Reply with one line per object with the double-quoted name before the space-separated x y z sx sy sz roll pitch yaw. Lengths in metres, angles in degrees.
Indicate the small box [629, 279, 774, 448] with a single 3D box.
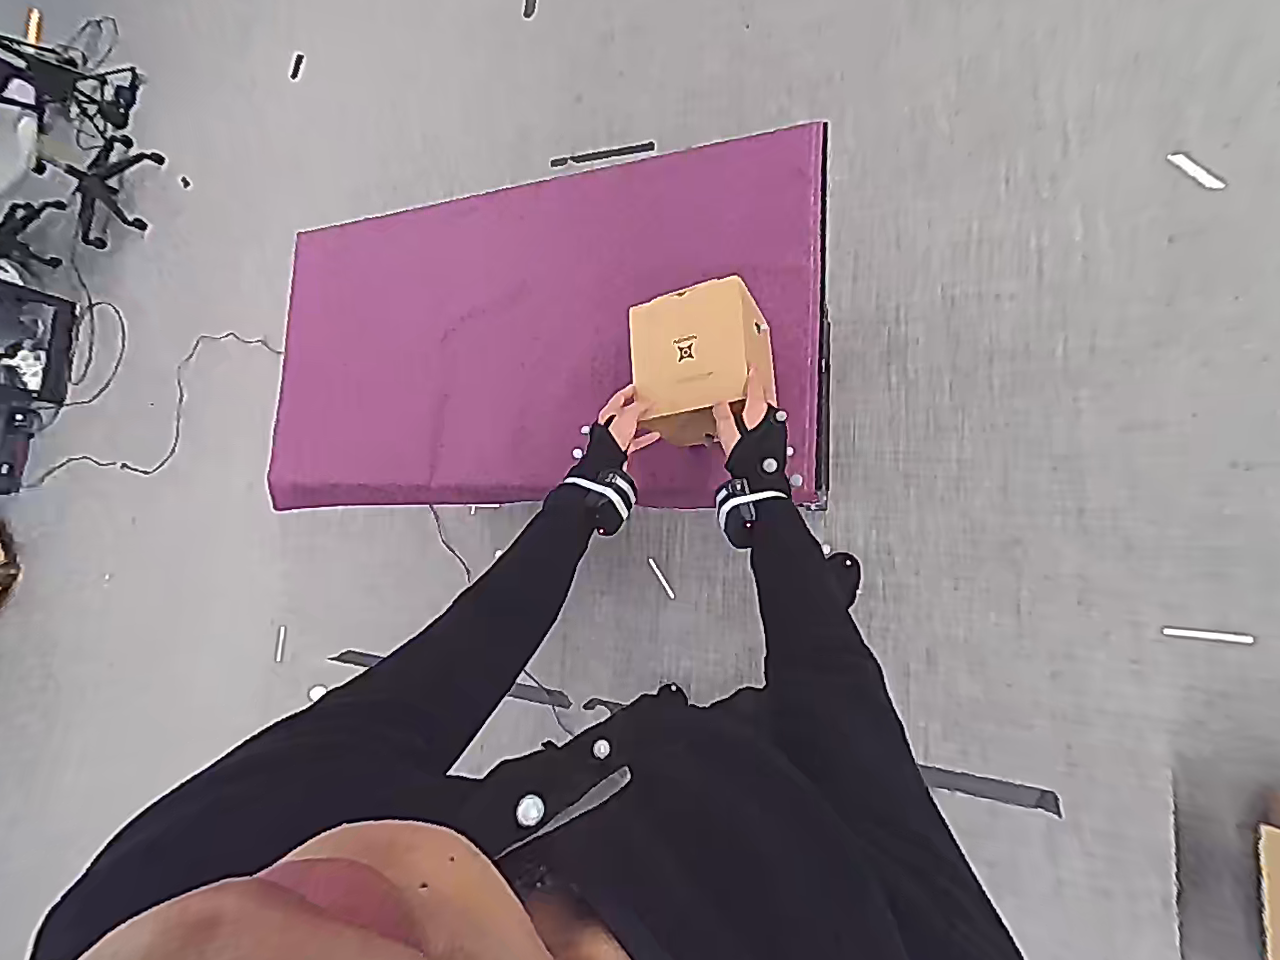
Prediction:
"small box" 0.093 -0.160 0.800 0.168 0.176 0.179 -8 76 26
